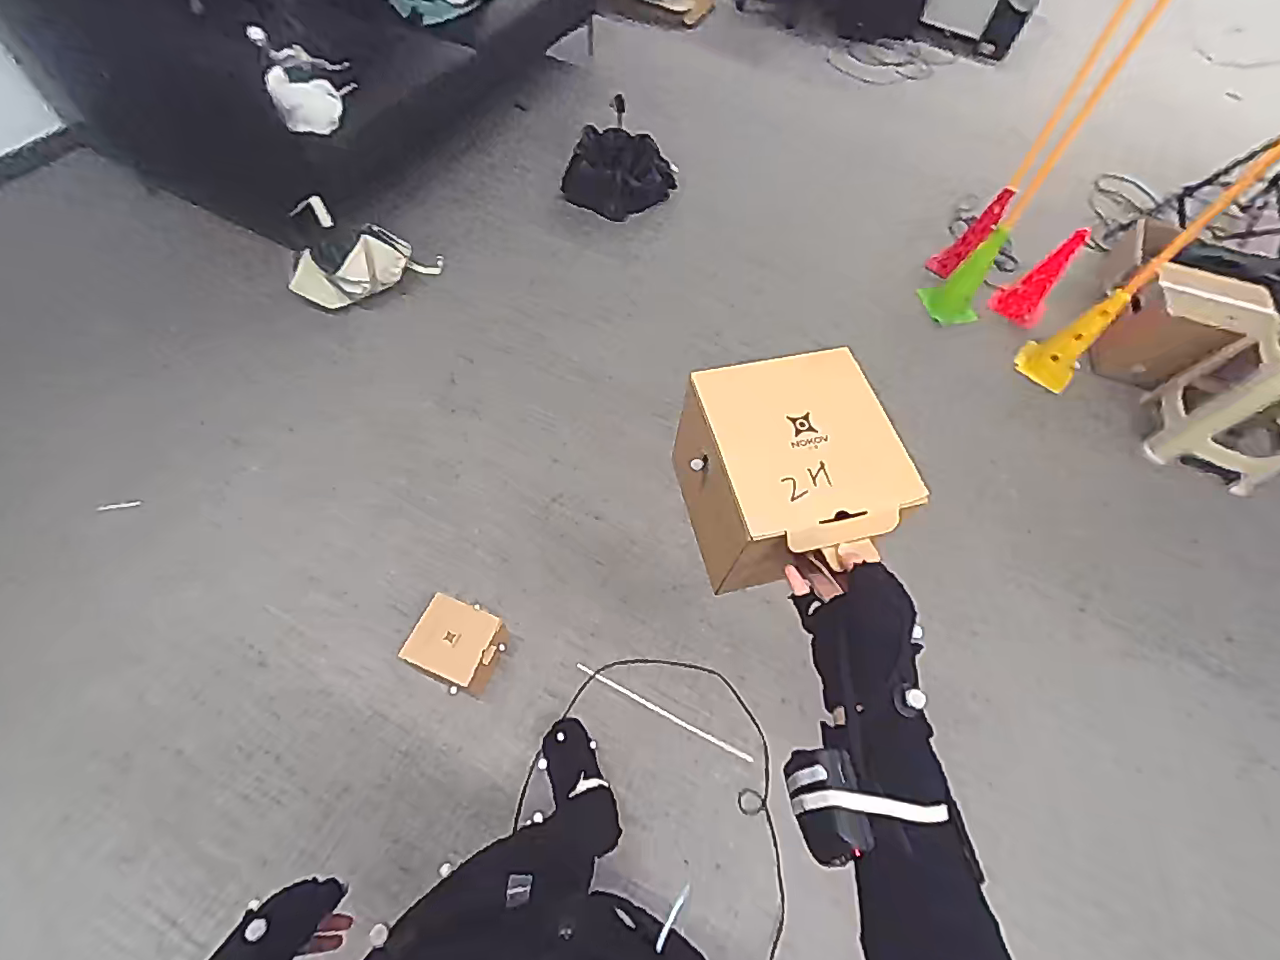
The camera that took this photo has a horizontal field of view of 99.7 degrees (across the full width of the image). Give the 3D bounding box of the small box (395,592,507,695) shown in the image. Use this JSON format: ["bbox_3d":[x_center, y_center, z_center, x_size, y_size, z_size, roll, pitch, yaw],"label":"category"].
[{"bbox_3d":[-0.433,0.393,1.278,0.179,0.176,0.168,21,60,7],"label":"small box"}]

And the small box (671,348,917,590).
[{"bbox_3d":[0.137,-0.006,0.562,0.168,0.176,0.179,-12,64,-9],"label":"small box"}]
